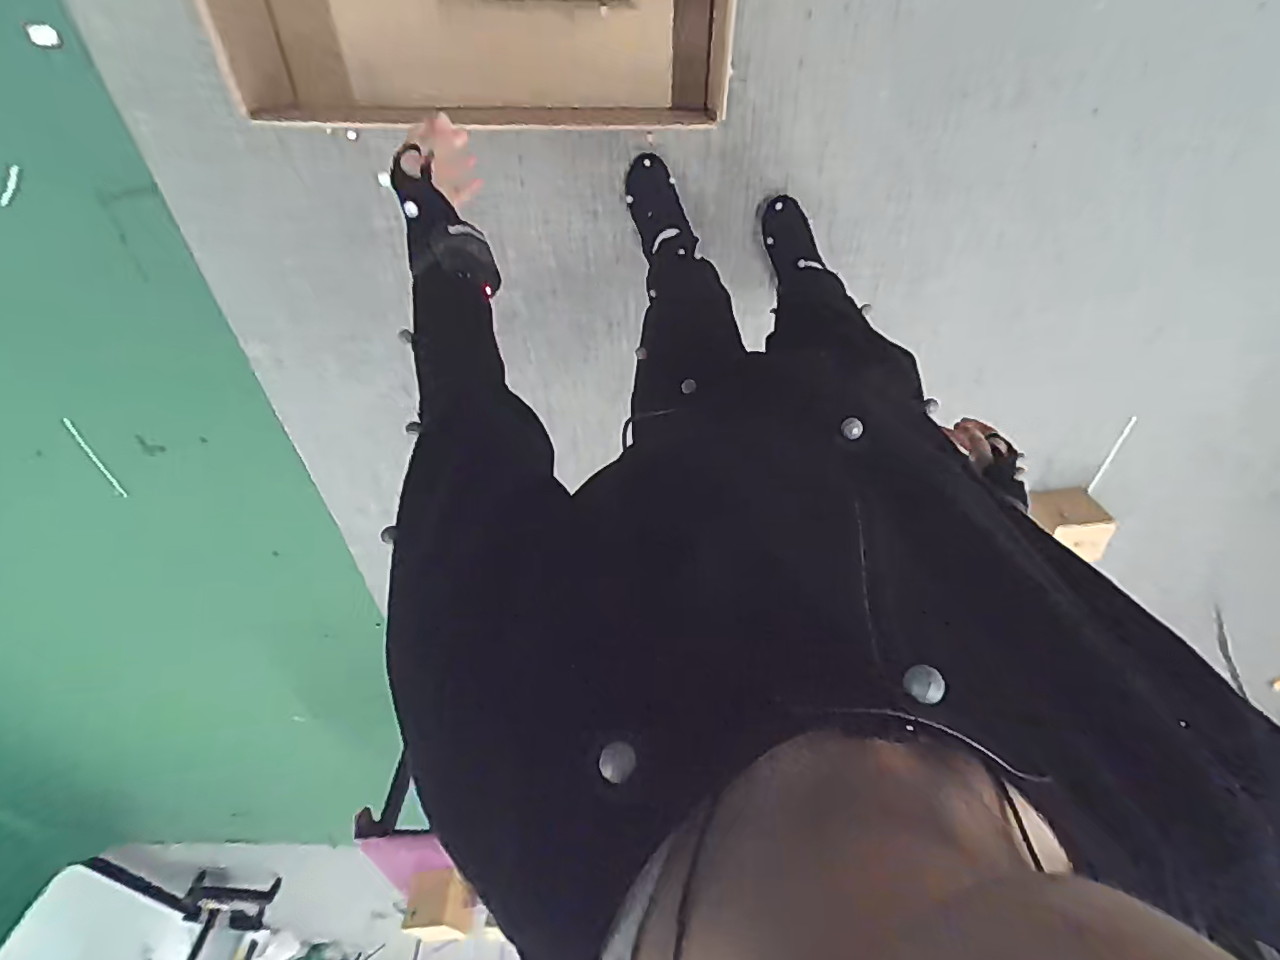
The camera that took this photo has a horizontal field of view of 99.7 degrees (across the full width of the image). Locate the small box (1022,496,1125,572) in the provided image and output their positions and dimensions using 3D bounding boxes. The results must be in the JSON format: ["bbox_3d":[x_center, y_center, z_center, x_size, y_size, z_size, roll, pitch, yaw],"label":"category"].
[{"bbox_3d":[1.352,0.168,1.705,0.179,0.176,0.168,-6,127,6],"label":"small box"}]

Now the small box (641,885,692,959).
[{"bbox_3d":[0.088,1.532,1.873,0.168,0.176,0.179,2,127,0],"label":"small box"}]

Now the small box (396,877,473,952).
[{"bbox_3d":[-0.698,1.502,1.872,0.179,0.176,0.168,-16,126,13],"label":"small box"}]
